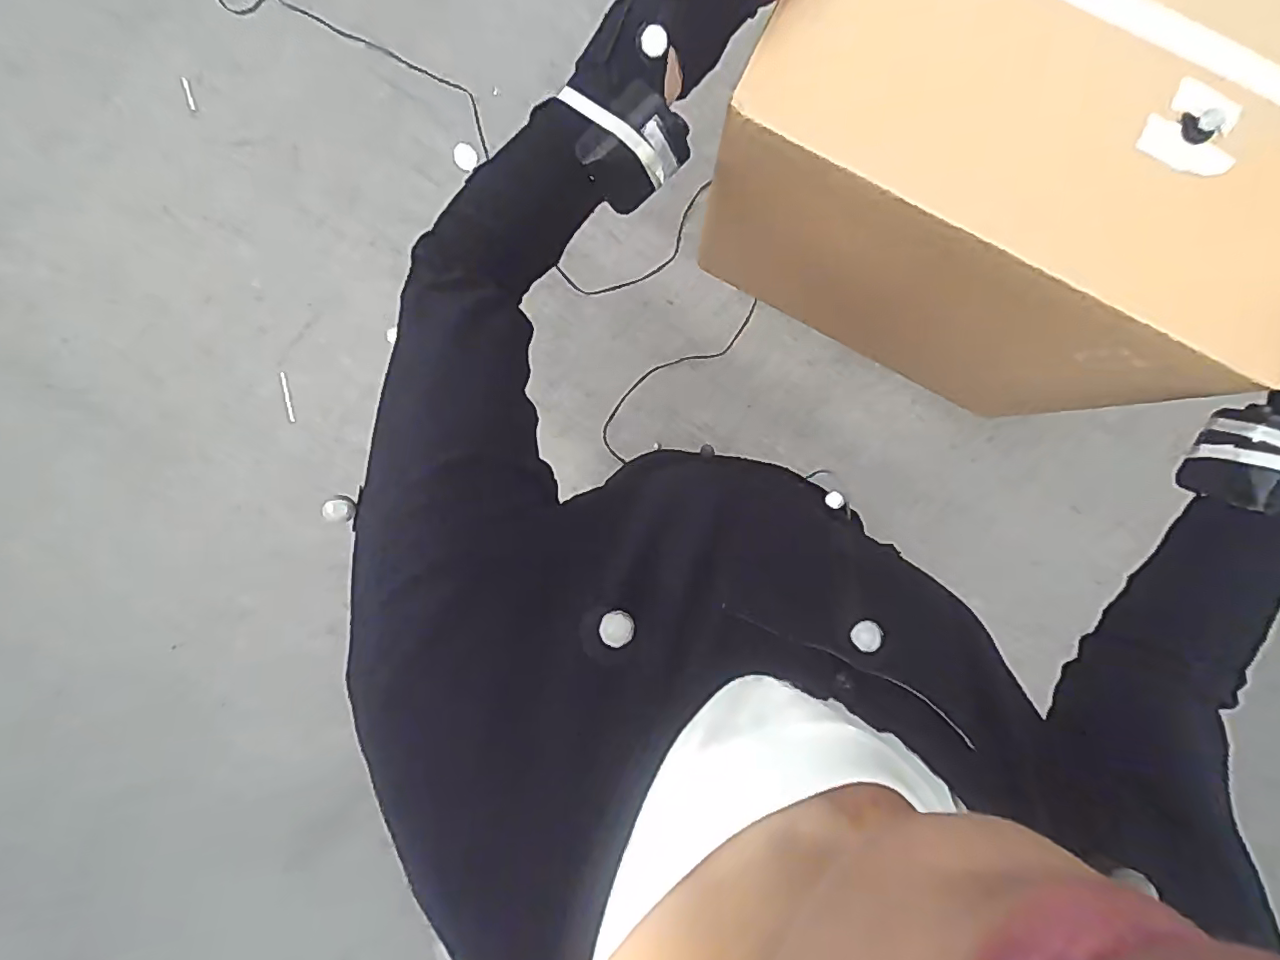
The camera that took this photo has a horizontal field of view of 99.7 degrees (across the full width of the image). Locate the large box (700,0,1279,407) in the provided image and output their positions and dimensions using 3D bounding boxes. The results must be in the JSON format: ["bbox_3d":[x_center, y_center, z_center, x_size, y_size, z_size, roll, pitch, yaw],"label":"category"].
[{"bbox_3d":[0.310,-0.301,0.505,0.408,0.320,0.320,27,94,-1],"label":"large box"}]
